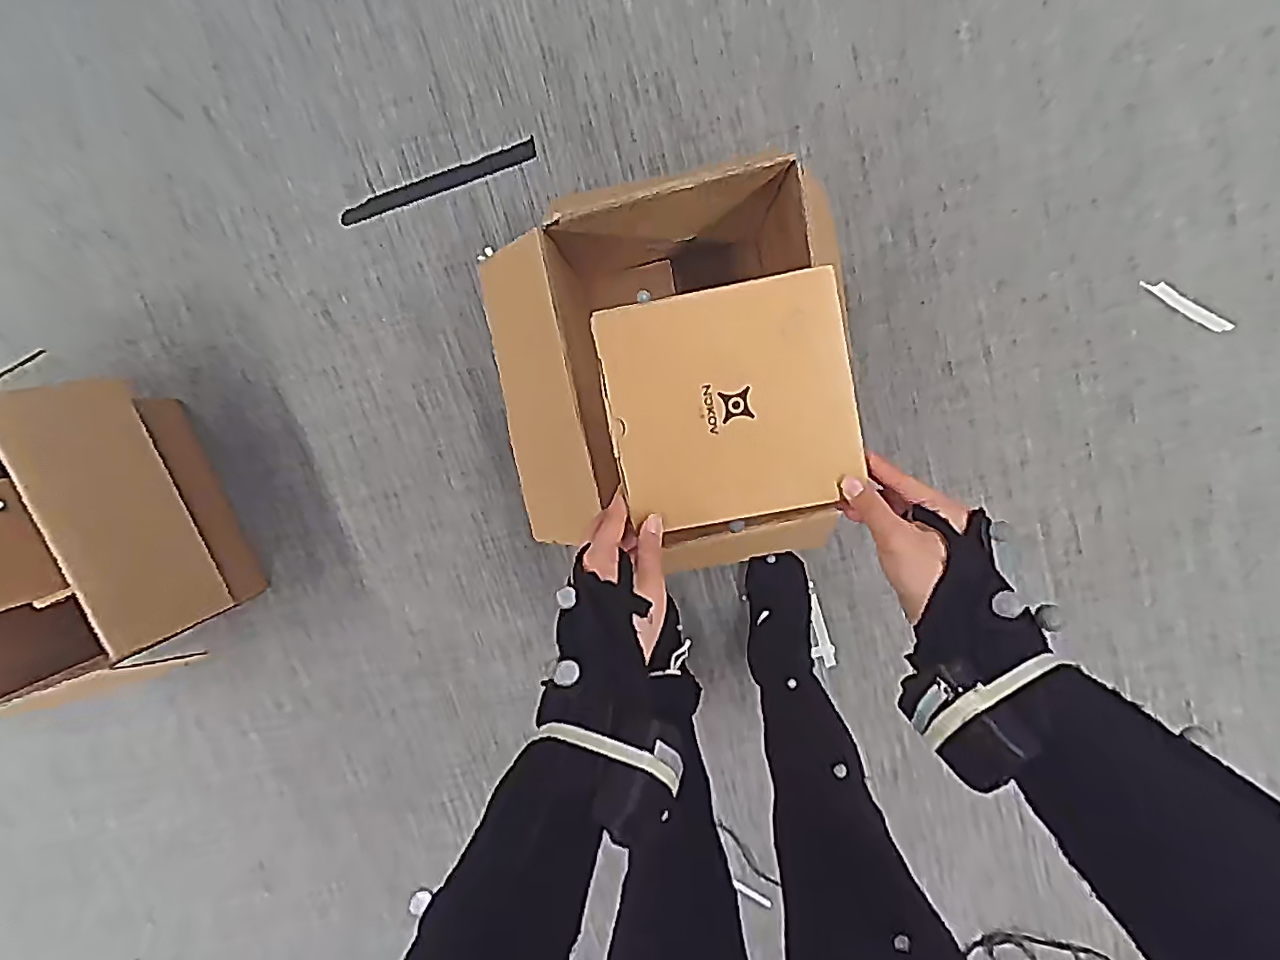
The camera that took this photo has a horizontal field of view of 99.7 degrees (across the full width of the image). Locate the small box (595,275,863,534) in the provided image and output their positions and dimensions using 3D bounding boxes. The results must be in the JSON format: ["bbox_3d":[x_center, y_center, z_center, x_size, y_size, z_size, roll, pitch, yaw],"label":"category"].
[{"bbox_3d":[0.070,-0.061,0.474,0.179,0.176,0.168,-11,94,5],"label":"small box"}]
